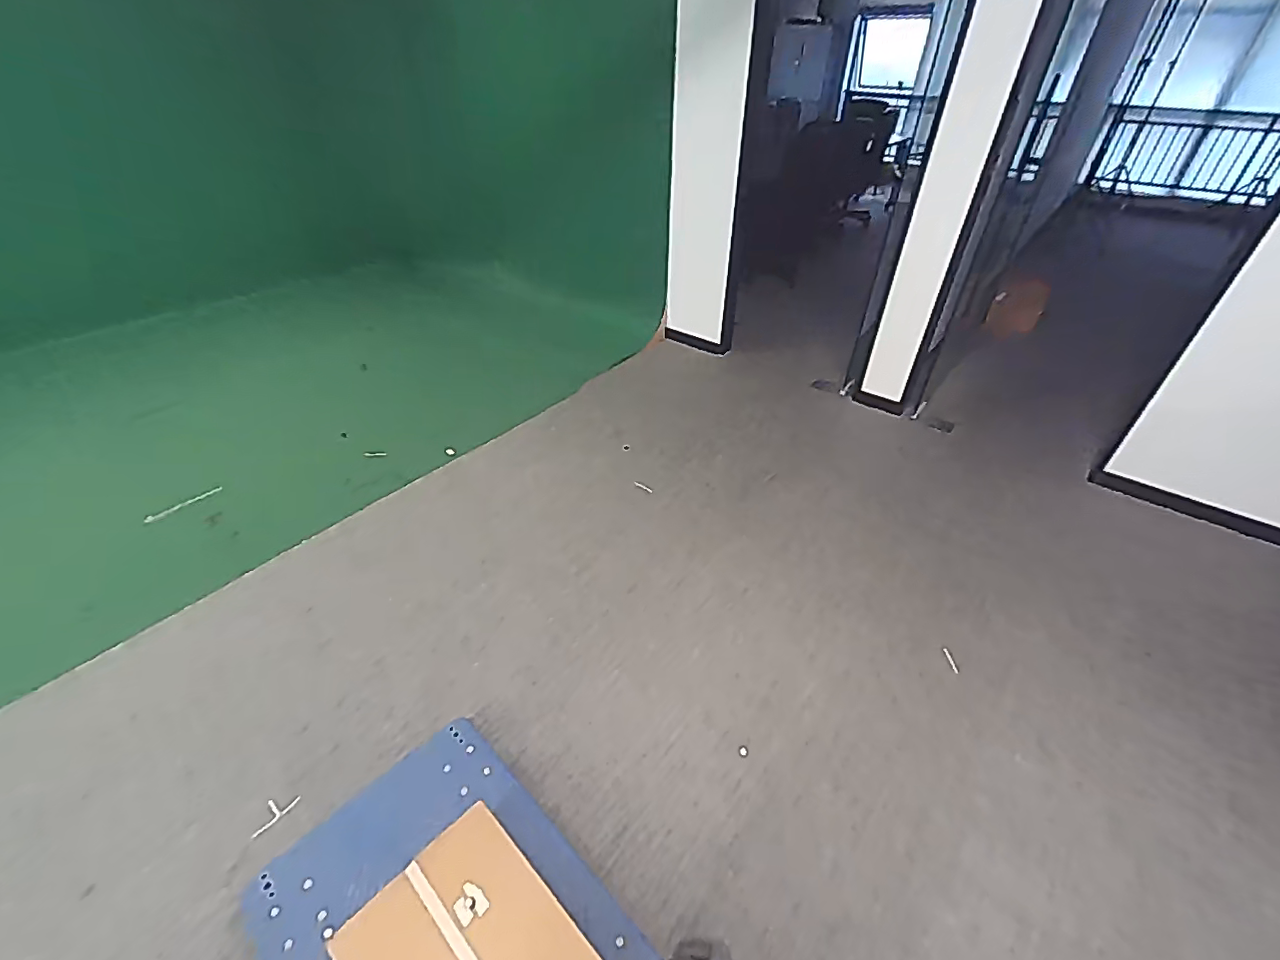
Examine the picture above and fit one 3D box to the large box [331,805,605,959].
[{"bbox_3d":[-0.282,0.926,1.000,0.408,0.320,0.320,31,47,33],"label":"large box"}]
